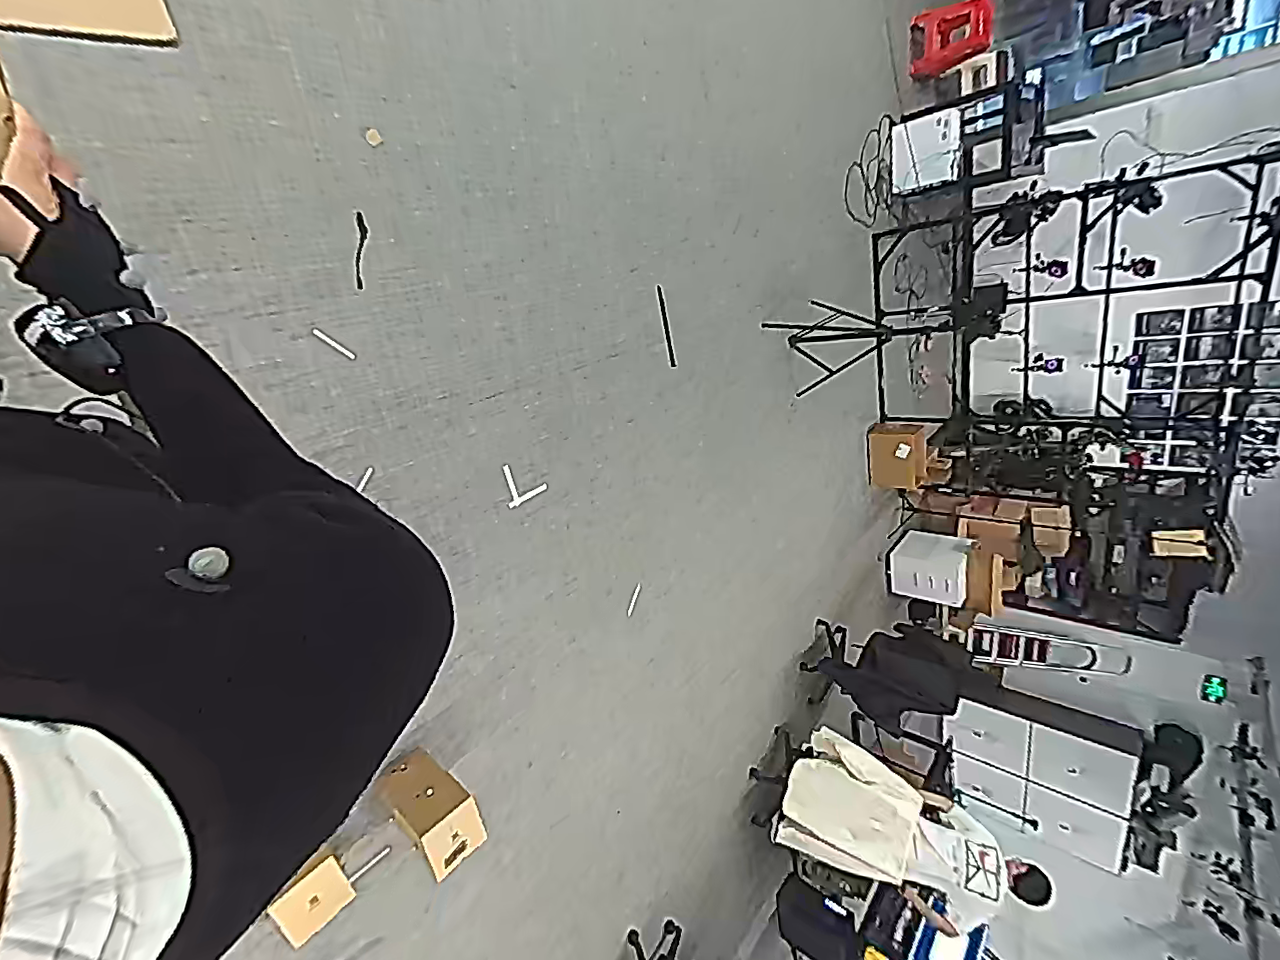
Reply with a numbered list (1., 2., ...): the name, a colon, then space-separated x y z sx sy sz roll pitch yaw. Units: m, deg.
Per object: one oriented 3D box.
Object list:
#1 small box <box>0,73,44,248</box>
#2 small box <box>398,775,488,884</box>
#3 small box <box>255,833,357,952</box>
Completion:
1. small box: -0.614 -0.275 0.411 0.179 0.176 0.168 -22 116 -51
2. small box: -0.582 1.018 1.593 0.168 0.176 0.179 -28 114 -42
3. small box: -0.922 1.121 1.490 0.168 0.176 0.179 -32 118 -39
